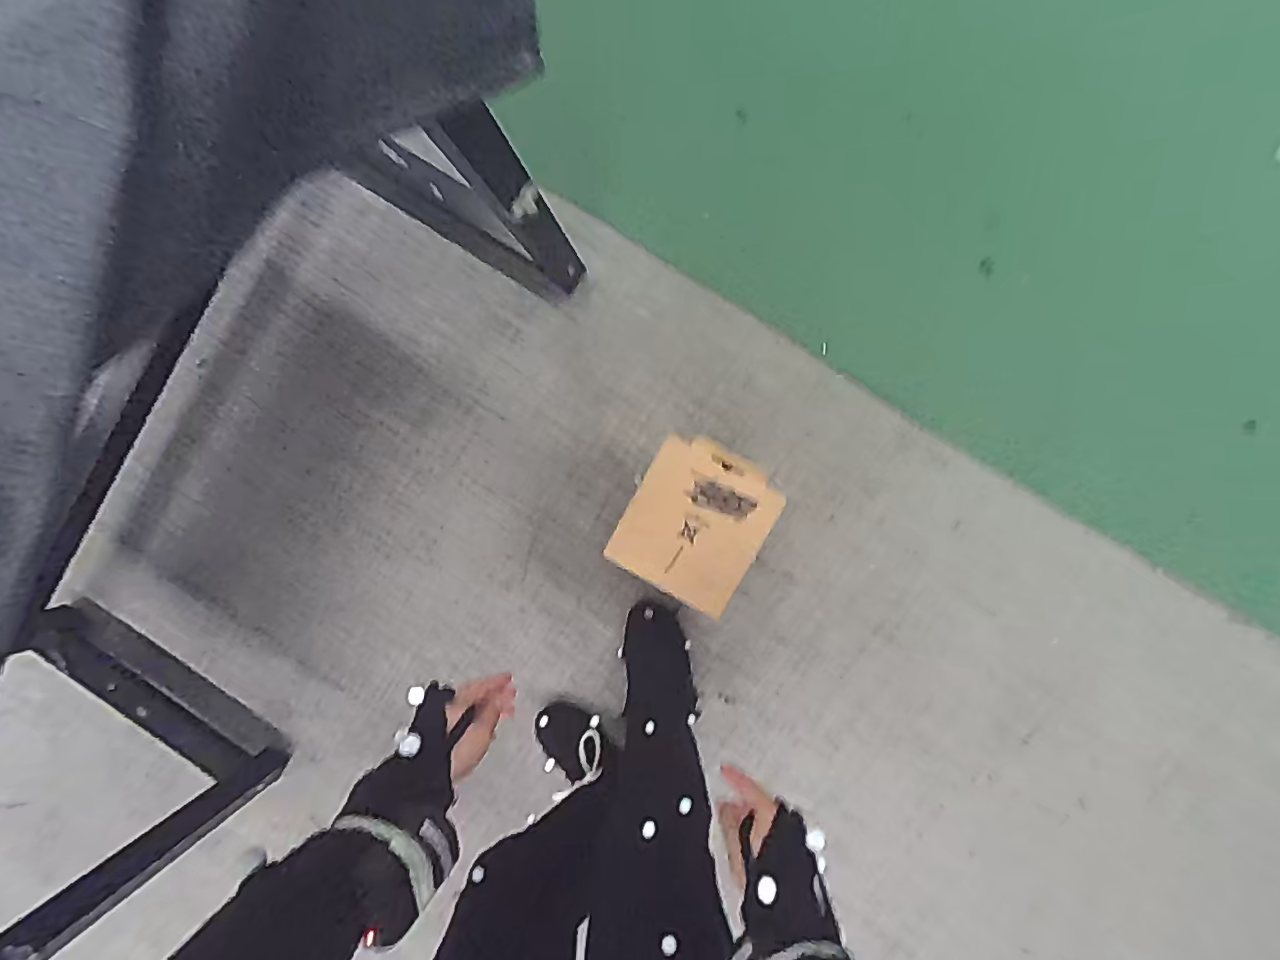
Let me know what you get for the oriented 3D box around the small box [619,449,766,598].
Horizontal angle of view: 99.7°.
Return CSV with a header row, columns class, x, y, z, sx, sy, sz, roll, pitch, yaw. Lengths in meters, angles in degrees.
class,x,y,z,sx,sy,sz,roll,pitch,yaw
small box,0.084,0.064,0.896,0.168,0.176,0.179,29,95,5
